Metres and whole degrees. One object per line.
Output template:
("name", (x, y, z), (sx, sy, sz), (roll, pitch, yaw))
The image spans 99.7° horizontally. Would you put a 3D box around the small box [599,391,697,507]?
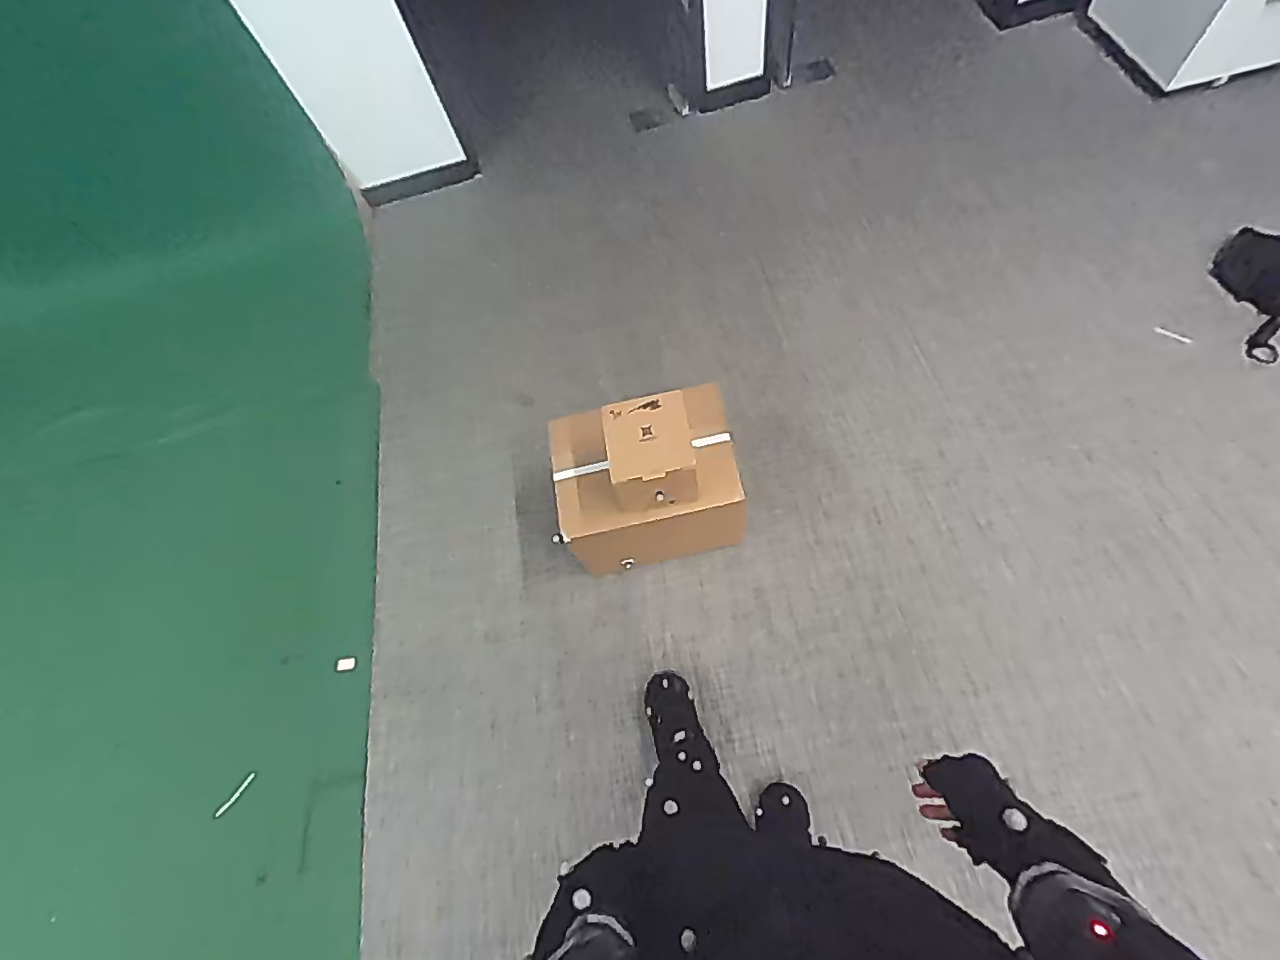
("small box", (0.021, -0.055, 1.116), (0.168, 0.176, 0.179), (-11, 66, 4))
